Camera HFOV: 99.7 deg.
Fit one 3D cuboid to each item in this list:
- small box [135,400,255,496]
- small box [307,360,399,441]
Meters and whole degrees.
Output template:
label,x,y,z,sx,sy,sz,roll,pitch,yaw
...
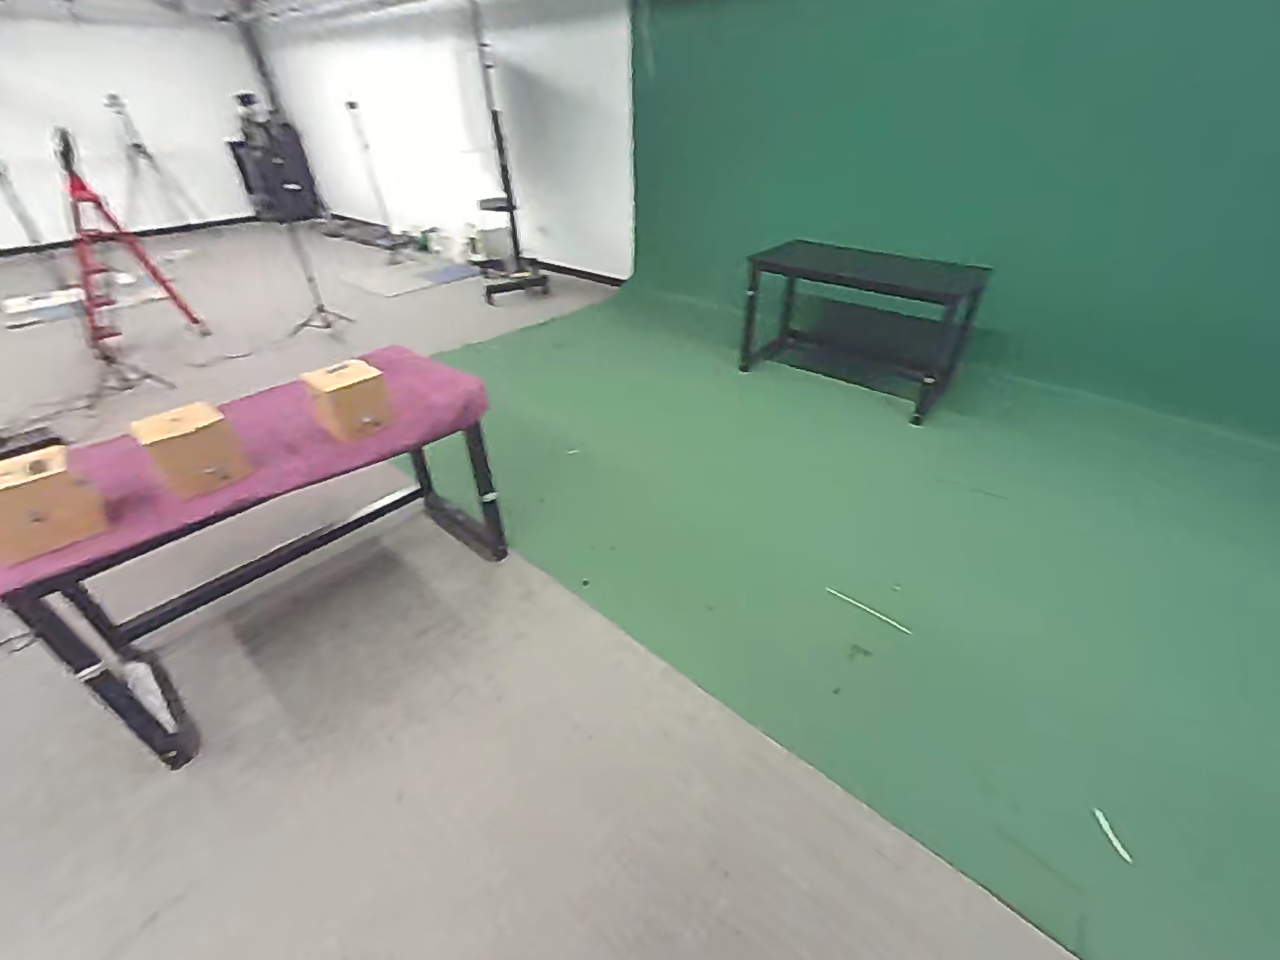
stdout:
label,x,y,z,sx,sy,sz,roll,pitch,yaw
small box,-1.137,-0.081,1.388,0.179,0.176,0.168,25,43,34
small box,-0.850,-0.238,1.610,0.179,0.176,0.168,27,44,34
